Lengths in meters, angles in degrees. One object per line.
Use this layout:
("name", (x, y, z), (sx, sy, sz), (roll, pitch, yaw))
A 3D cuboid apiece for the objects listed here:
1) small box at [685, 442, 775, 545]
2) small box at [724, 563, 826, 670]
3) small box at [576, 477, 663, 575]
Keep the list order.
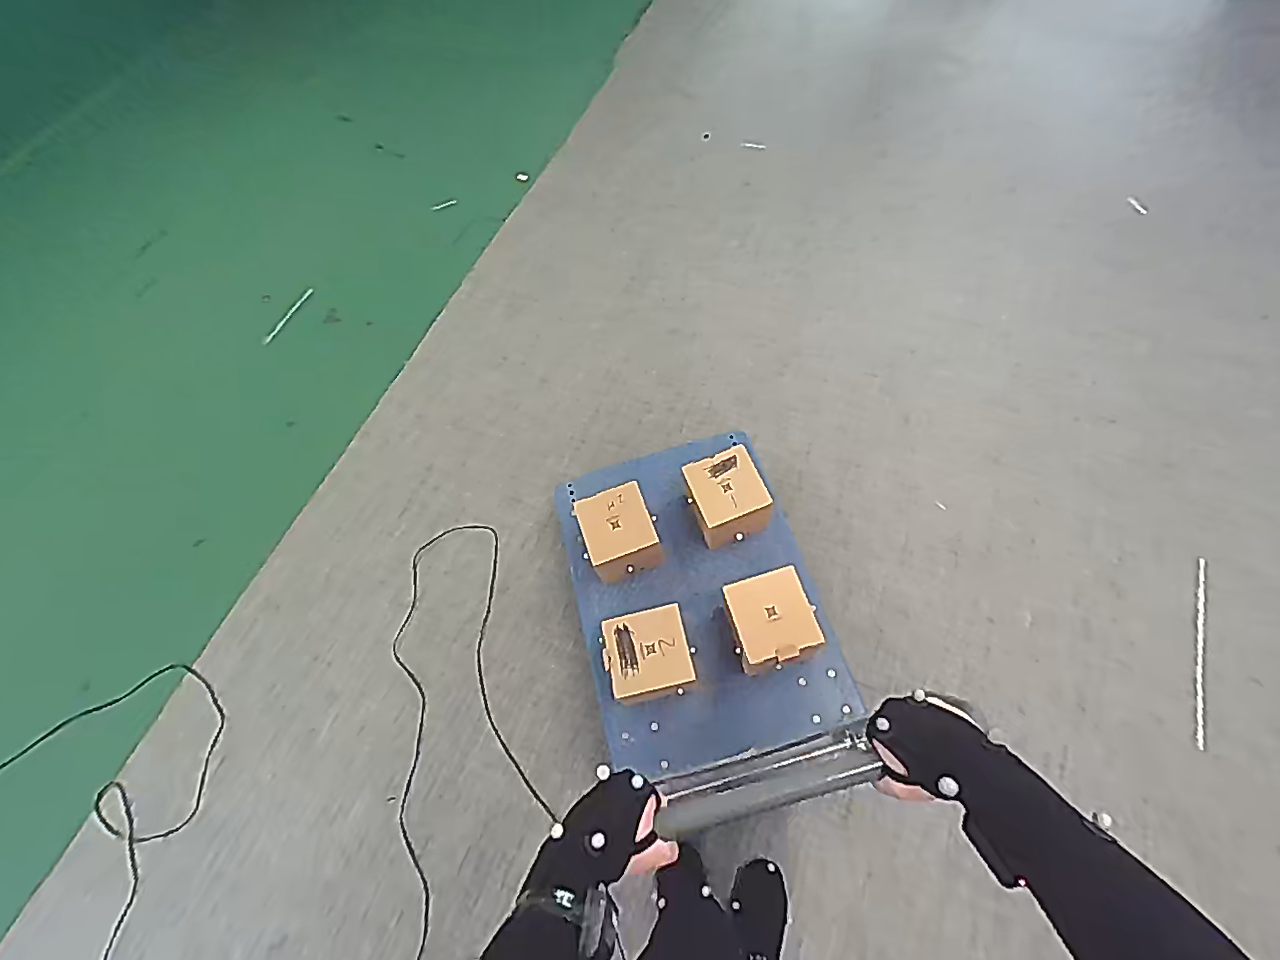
("small box", (0.220, 0.038, 1.359), (0.168, 0.176, 0.179), (-21, 64, -2))
("small box", (0.292, 0.312, 1.218), (0.168, 0.176, 0.179), (-17, 64, 0))
("small box", (-0.046, 0.124, 1.354), (0.168, 0.176, 0.179), (-19, 63, -2))
